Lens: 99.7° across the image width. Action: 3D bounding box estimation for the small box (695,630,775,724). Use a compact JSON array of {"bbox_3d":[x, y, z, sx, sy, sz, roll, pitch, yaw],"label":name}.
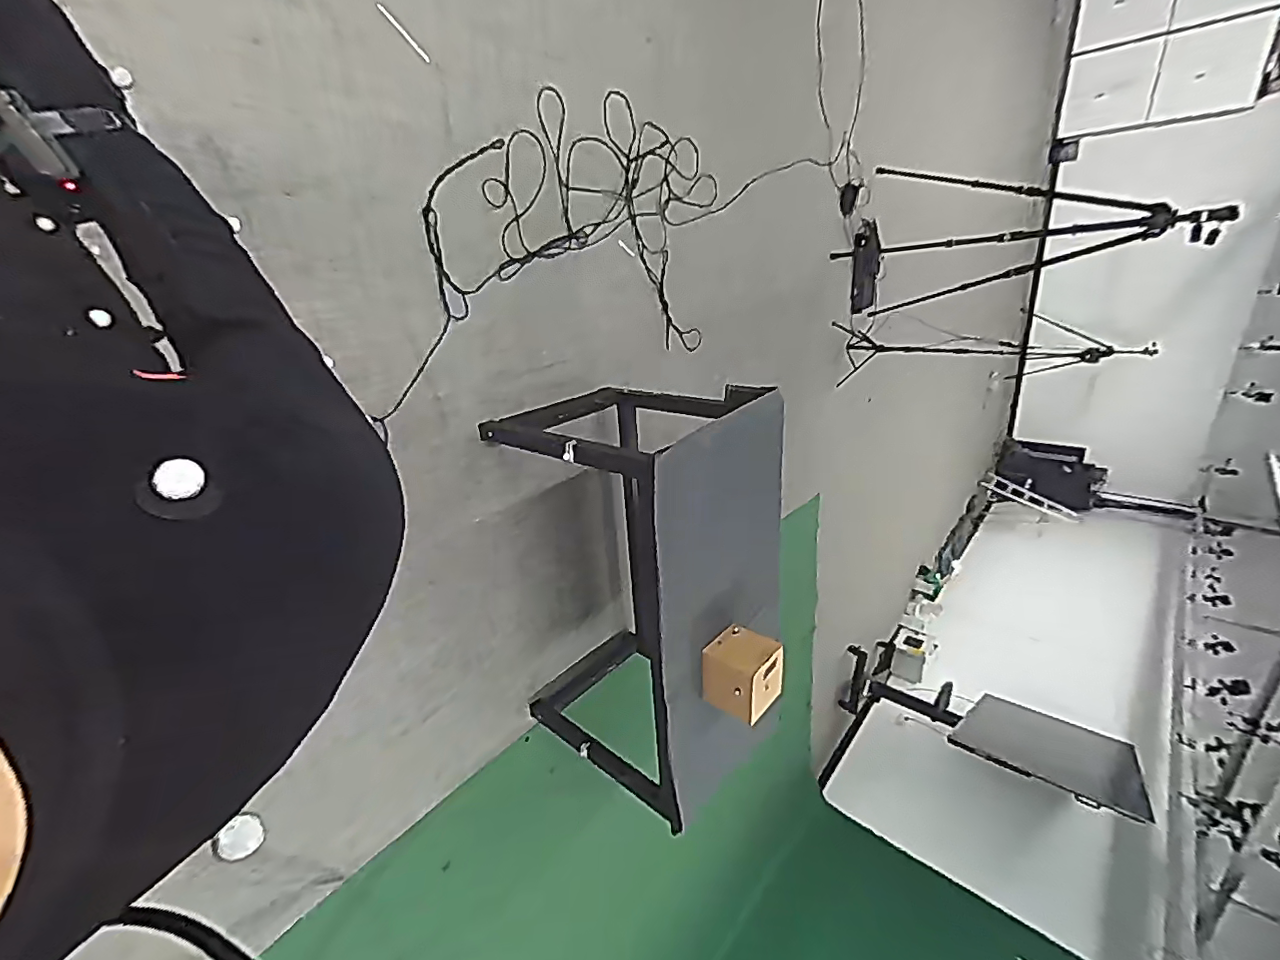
[{"bbox_3d":[0.271,0.555,1.560,0.168,0.176,0.179,-24,120,-43],"label":"small box"}]
